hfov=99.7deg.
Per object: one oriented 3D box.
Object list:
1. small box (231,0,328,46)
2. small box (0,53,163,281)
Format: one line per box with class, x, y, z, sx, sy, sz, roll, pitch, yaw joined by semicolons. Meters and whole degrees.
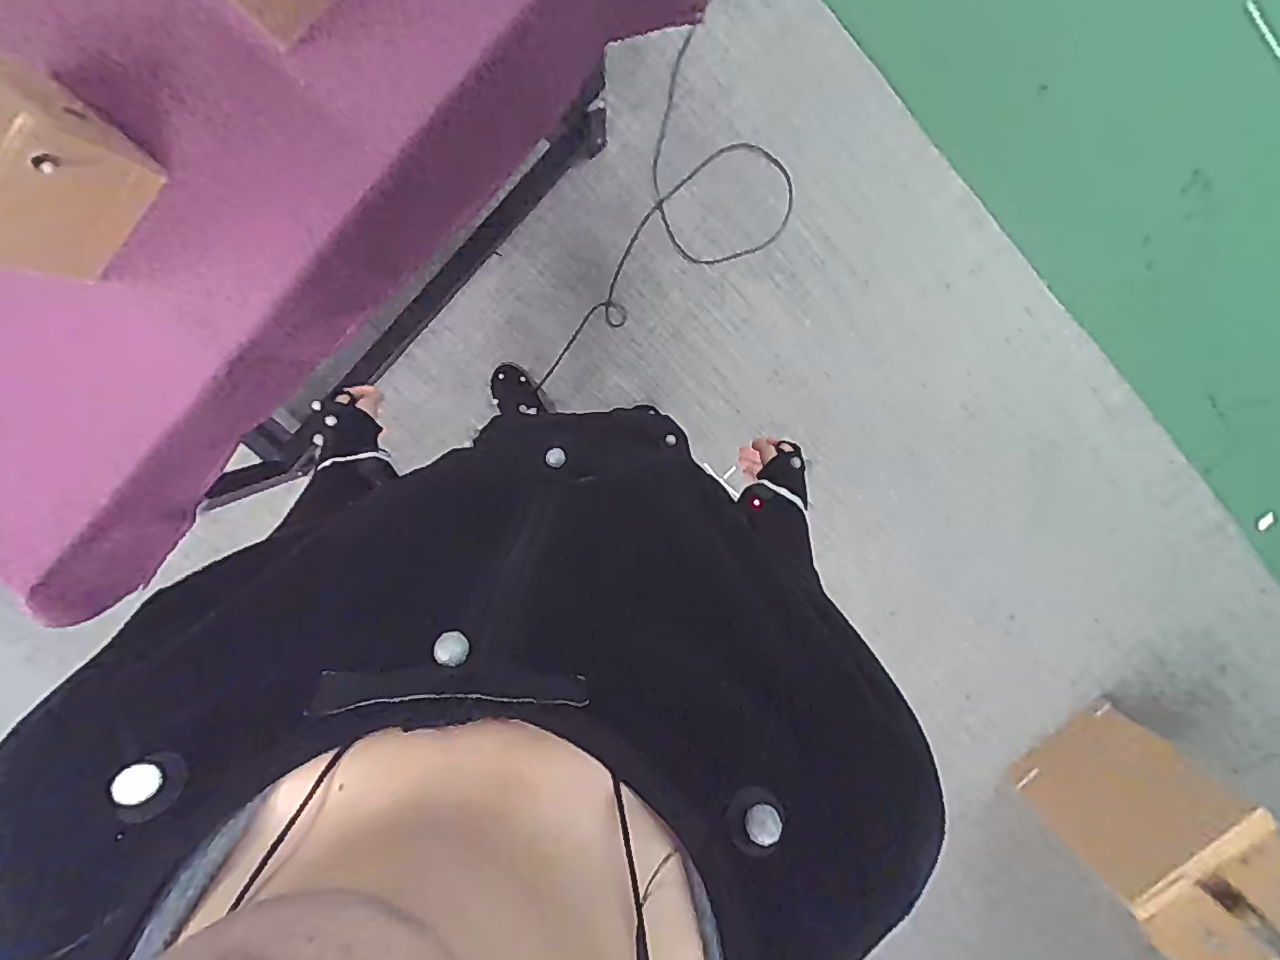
small box;-0.411;-0.606;0.545;0.179;0.176;0.168;-45;101;6
small box;-0.689;-0.344;0.587;0.168;0.176;0.179;40;96;-10
